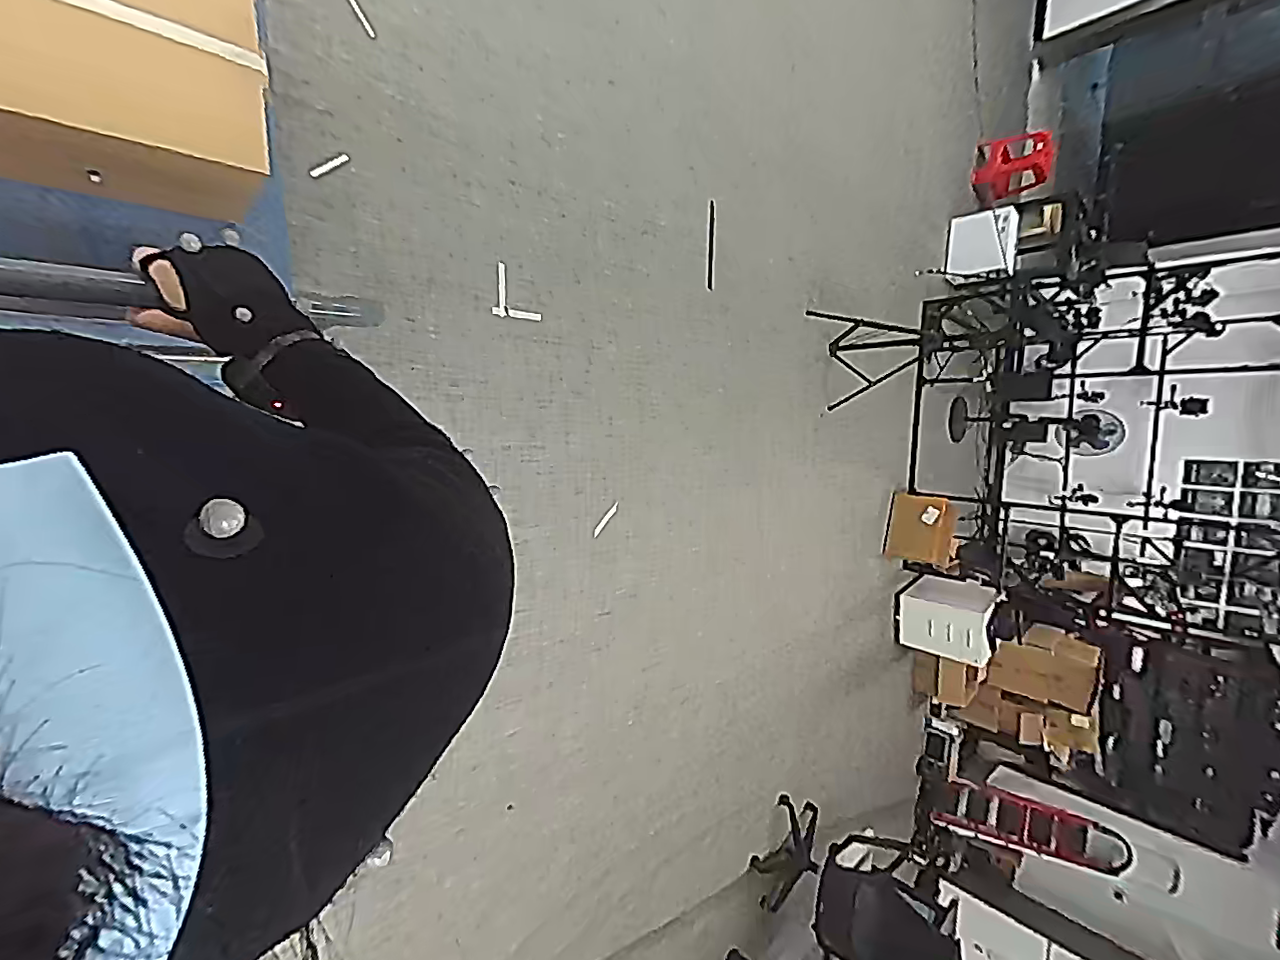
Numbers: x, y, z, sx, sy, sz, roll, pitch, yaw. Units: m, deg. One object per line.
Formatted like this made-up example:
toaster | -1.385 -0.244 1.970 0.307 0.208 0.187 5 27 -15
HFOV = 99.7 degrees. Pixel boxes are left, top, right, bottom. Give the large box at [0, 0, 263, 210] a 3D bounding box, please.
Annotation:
large box | -0.837 -0.639 0.801 0.408 0.320 0.320 -7 100 -42
